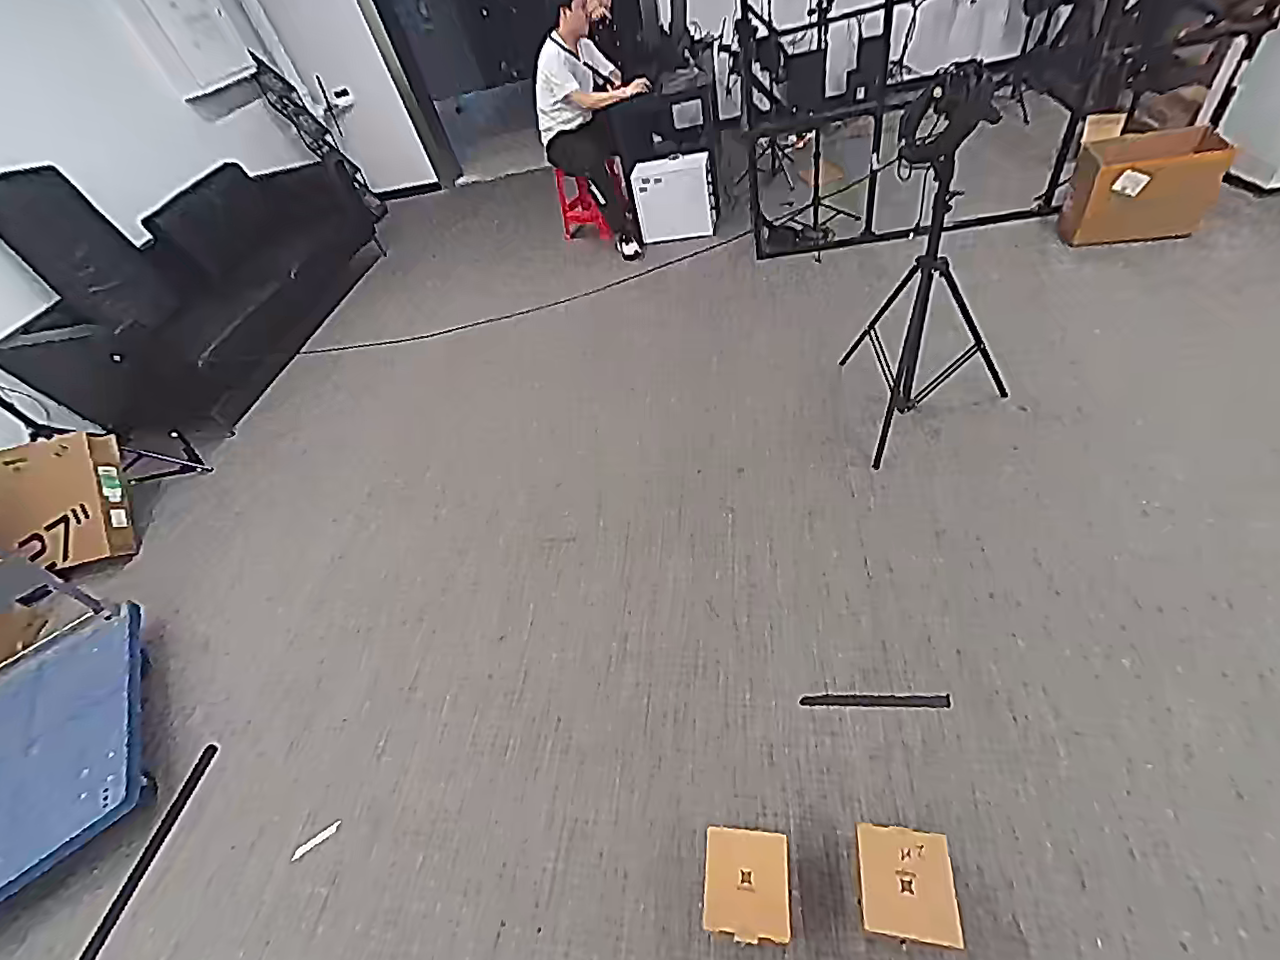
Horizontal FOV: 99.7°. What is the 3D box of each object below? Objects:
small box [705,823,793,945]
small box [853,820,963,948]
[{"bbox_3d":[0.231,0.846,1.132,0.168,0.176,0.179,-3,48,14],"label":"small box"},{"bbox_3d":[0.522,0.806,1.078,0.168,0.176,0.179,0,48,15],"label":"small box"}]
